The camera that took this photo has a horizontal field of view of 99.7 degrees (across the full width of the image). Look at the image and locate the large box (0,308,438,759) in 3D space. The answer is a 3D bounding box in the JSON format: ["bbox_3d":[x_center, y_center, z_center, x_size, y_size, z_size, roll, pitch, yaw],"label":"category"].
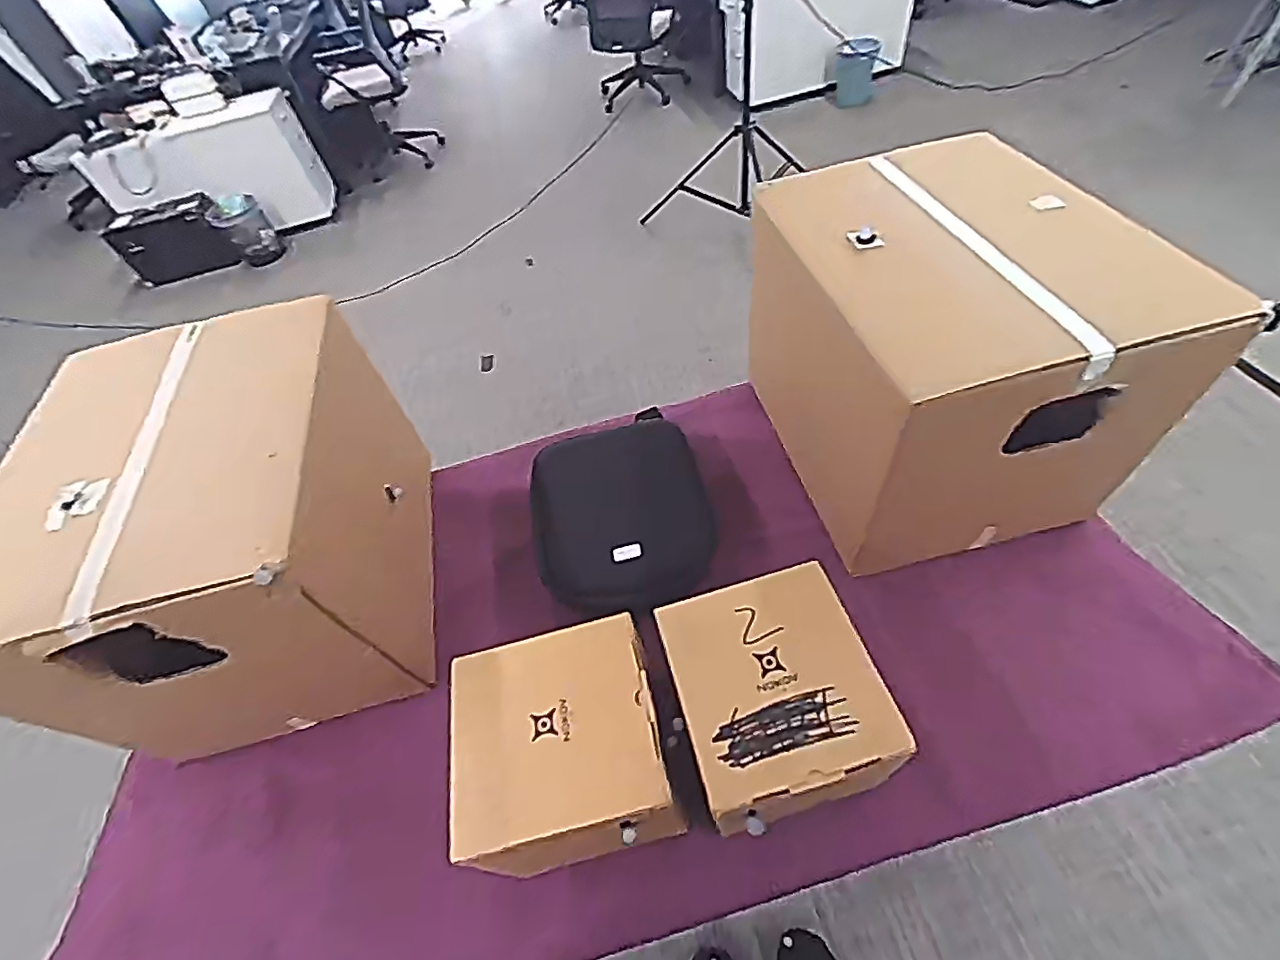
[{"bbox_3d":[-0.463,0.062,0.662,0.320,0.320,0.408,-16,54,-4],"label":"large box"}]
